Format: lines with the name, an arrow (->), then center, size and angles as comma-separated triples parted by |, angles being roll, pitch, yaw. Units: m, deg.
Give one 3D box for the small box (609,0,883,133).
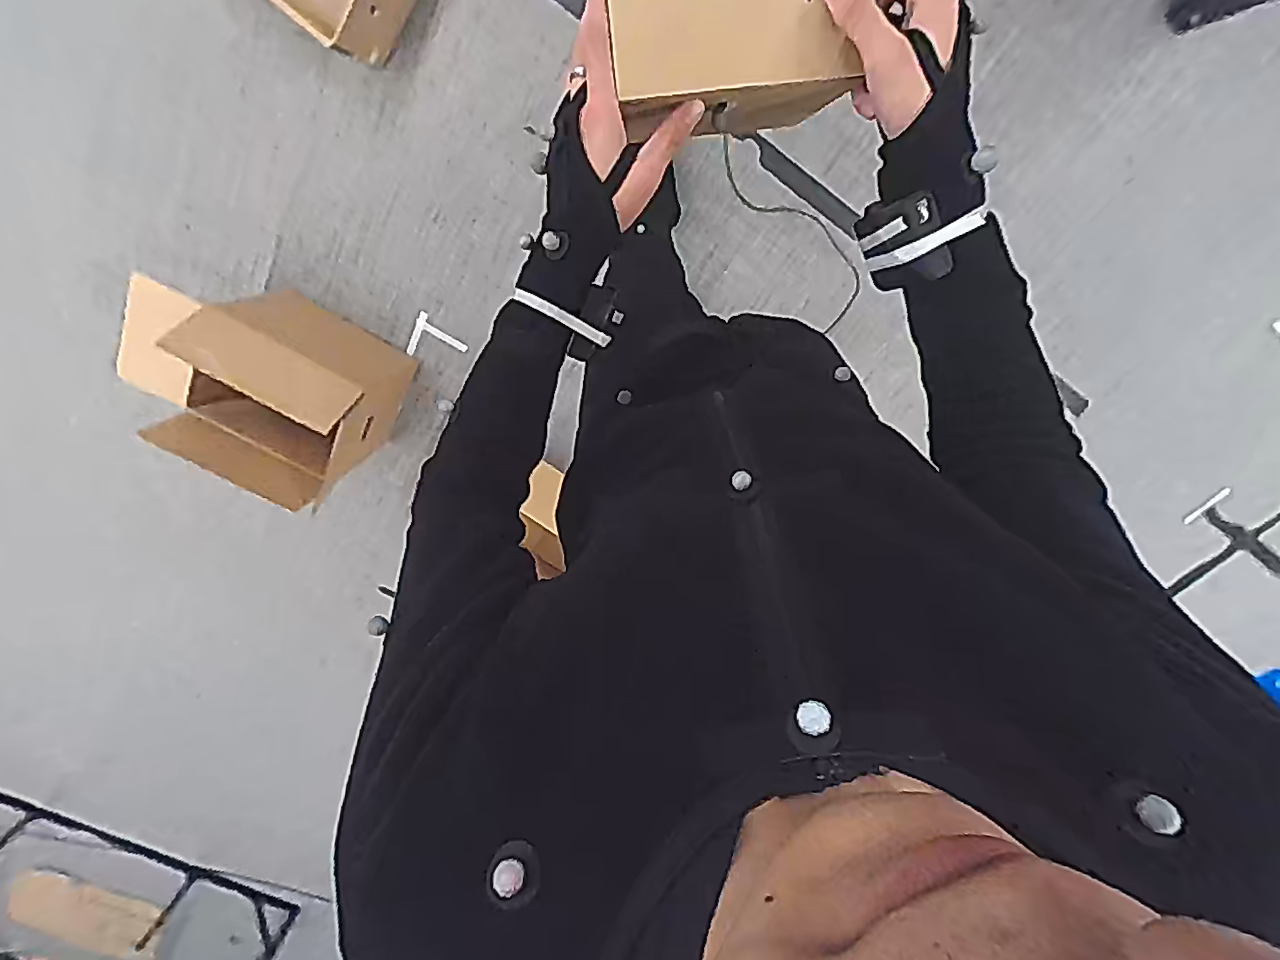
small box -> 0.063, -0.373, 0.402 | 0.179, 0.176, 0.168 | -5, 114, -1
